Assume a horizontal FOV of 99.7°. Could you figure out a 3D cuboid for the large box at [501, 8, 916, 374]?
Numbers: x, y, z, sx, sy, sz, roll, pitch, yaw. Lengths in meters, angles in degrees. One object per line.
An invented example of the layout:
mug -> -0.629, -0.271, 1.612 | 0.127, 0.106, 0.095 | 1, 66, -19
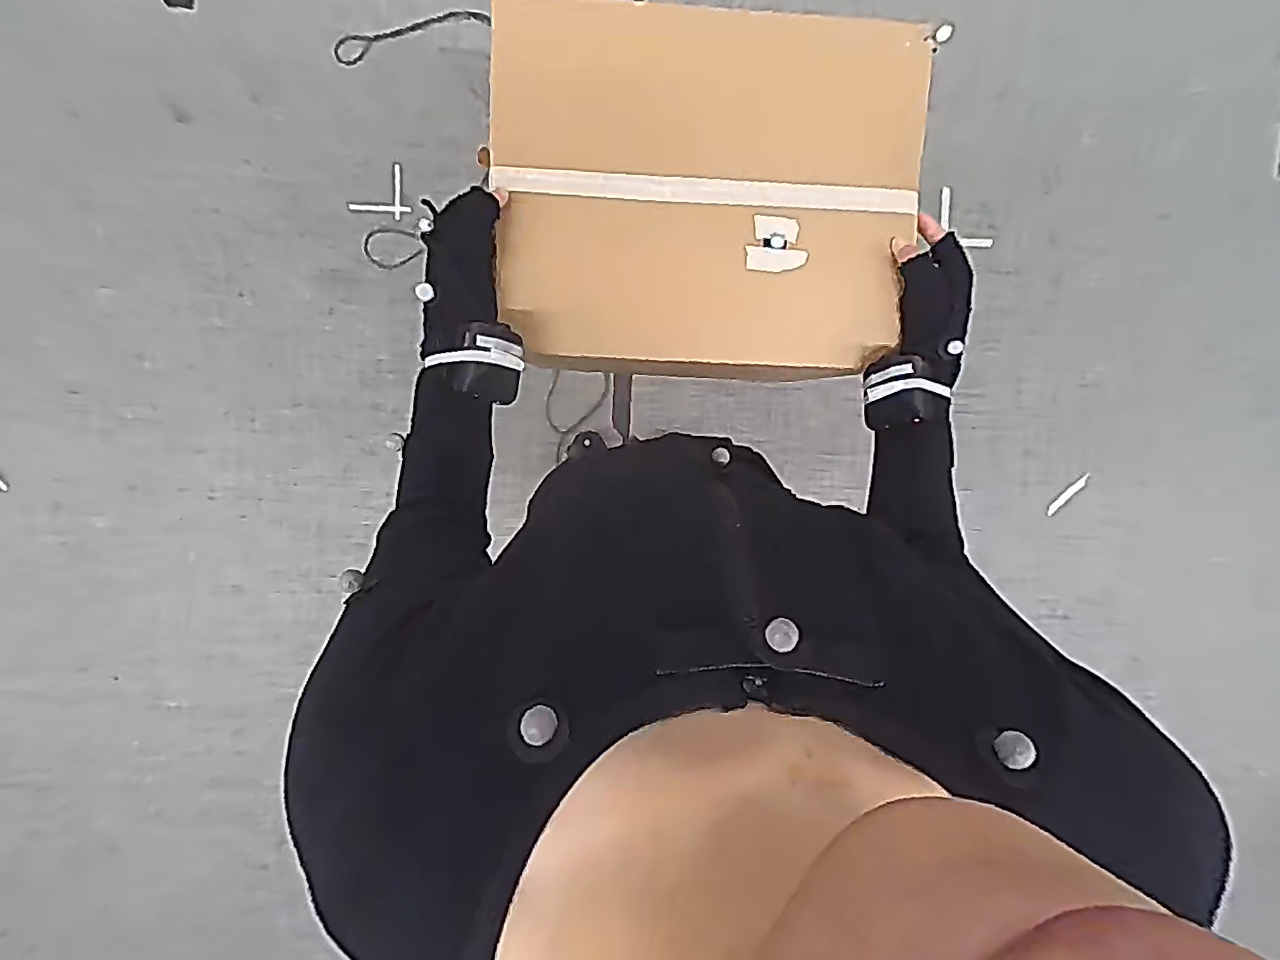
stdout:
large box -> 0.056, -0.301, 0.677 | 0.408, 0.320, 0.320 | 2, 99, -4
